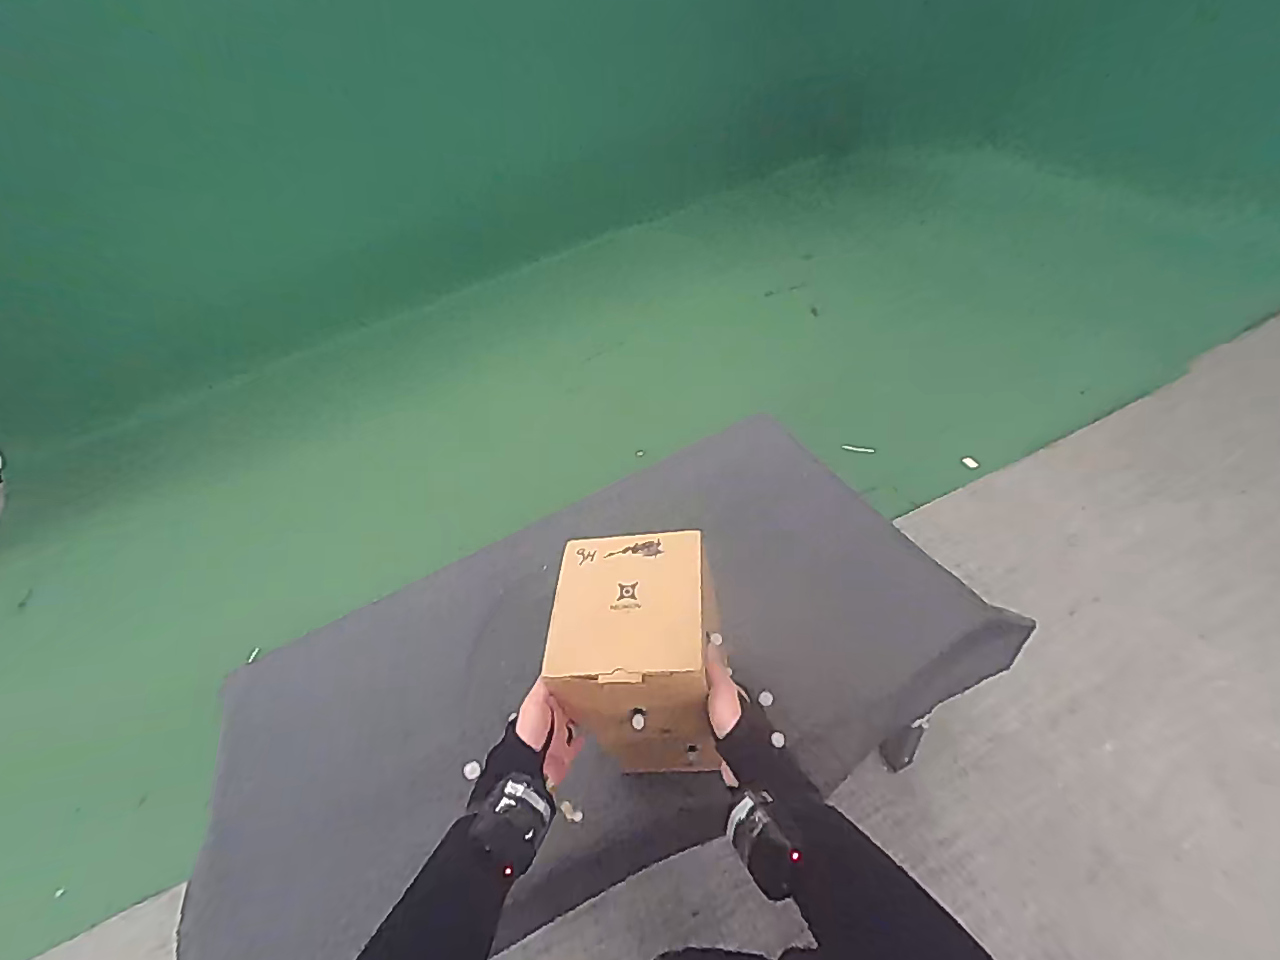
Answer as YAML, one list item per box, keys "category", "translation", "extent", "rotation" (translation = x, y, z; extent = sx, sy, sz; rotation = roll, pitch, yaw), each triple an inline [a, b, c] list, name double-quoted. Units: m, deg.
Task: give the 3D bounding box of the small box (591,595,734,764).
- category: "small box"
  translation: [0.039, 0.286, 0.762]
  extent: [0.168, 0.176, 0.179]
  rotation: [-7, 44, 10]
